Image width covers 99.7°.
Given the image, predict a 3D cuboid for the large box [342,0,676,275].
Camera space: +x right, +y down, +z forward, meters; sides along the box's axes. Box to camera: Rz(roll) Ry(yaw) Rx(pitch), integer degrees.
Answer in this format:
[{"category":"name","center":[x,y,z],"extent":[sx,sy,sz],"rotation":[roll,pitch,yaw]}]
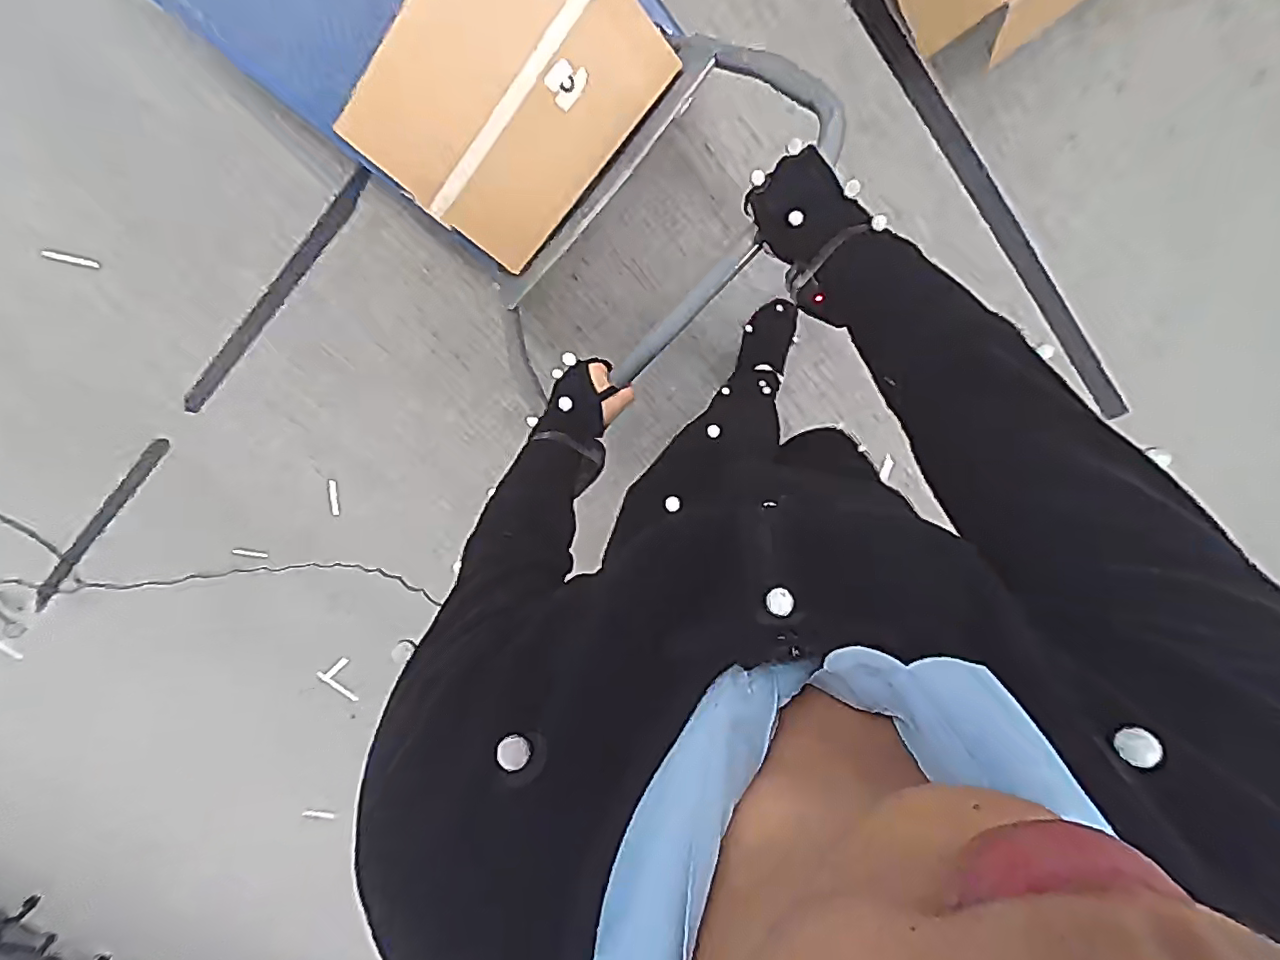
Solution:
[{"category":"large box","center":[-0.213,-0.633,0.888],"extent":[0.320,0.320,0.408],"rotation":[32,114,-33]}]
